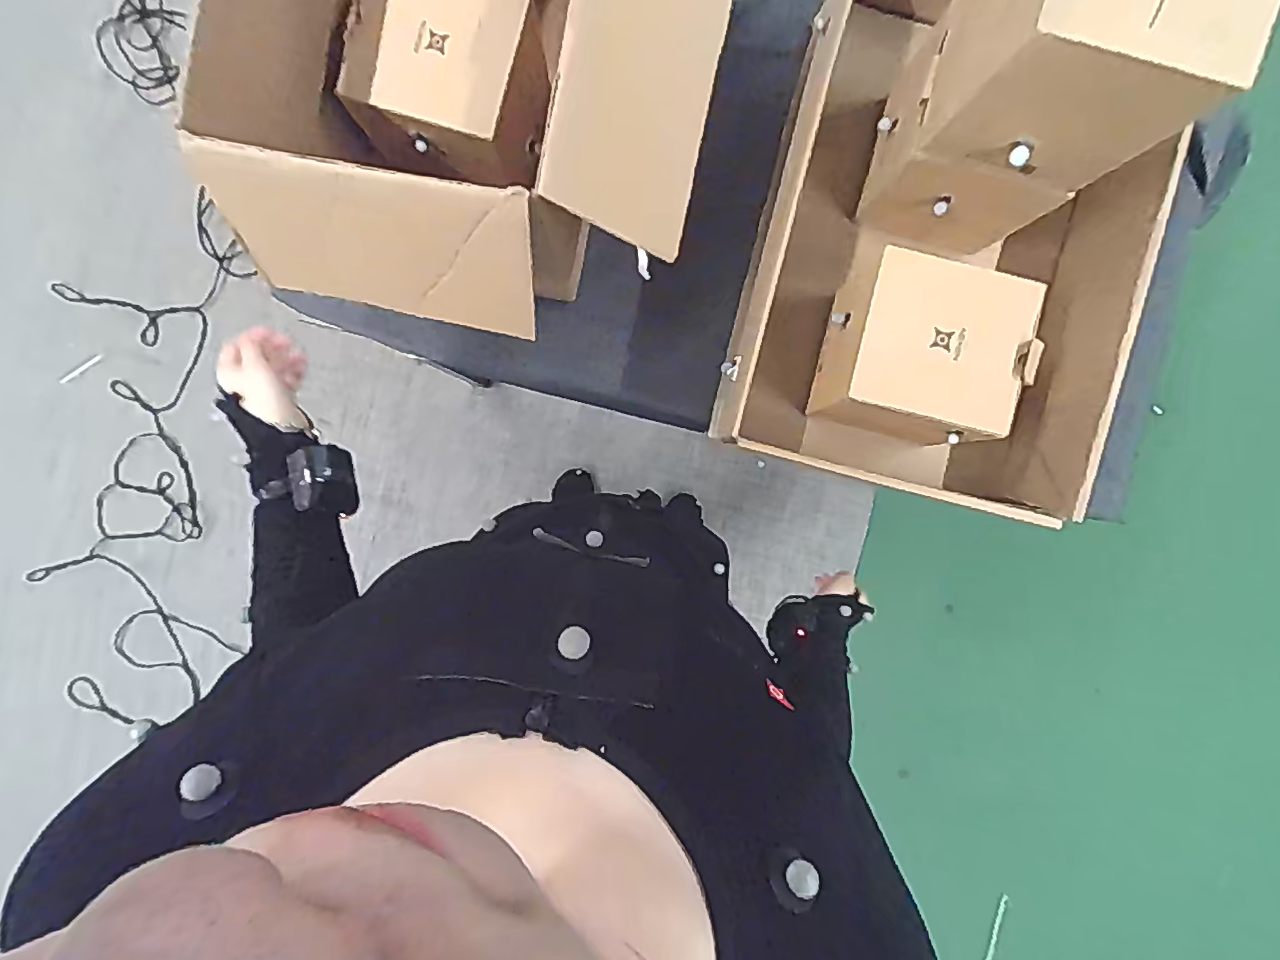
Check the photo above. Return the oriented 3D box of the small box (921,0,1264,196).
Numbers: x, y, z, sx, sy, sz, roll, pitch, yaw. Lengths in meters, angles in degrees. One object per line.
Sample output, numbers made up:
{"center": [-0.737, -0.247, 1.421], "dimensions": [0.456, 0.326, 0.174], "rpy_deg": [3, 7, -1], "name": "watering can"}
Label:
{"center": [0.384, -0.392, 0.478], "dimensions": [0.168, 0.176, 0.179], "rpy_deg": [15, 94, -2], "name": "small box"}
